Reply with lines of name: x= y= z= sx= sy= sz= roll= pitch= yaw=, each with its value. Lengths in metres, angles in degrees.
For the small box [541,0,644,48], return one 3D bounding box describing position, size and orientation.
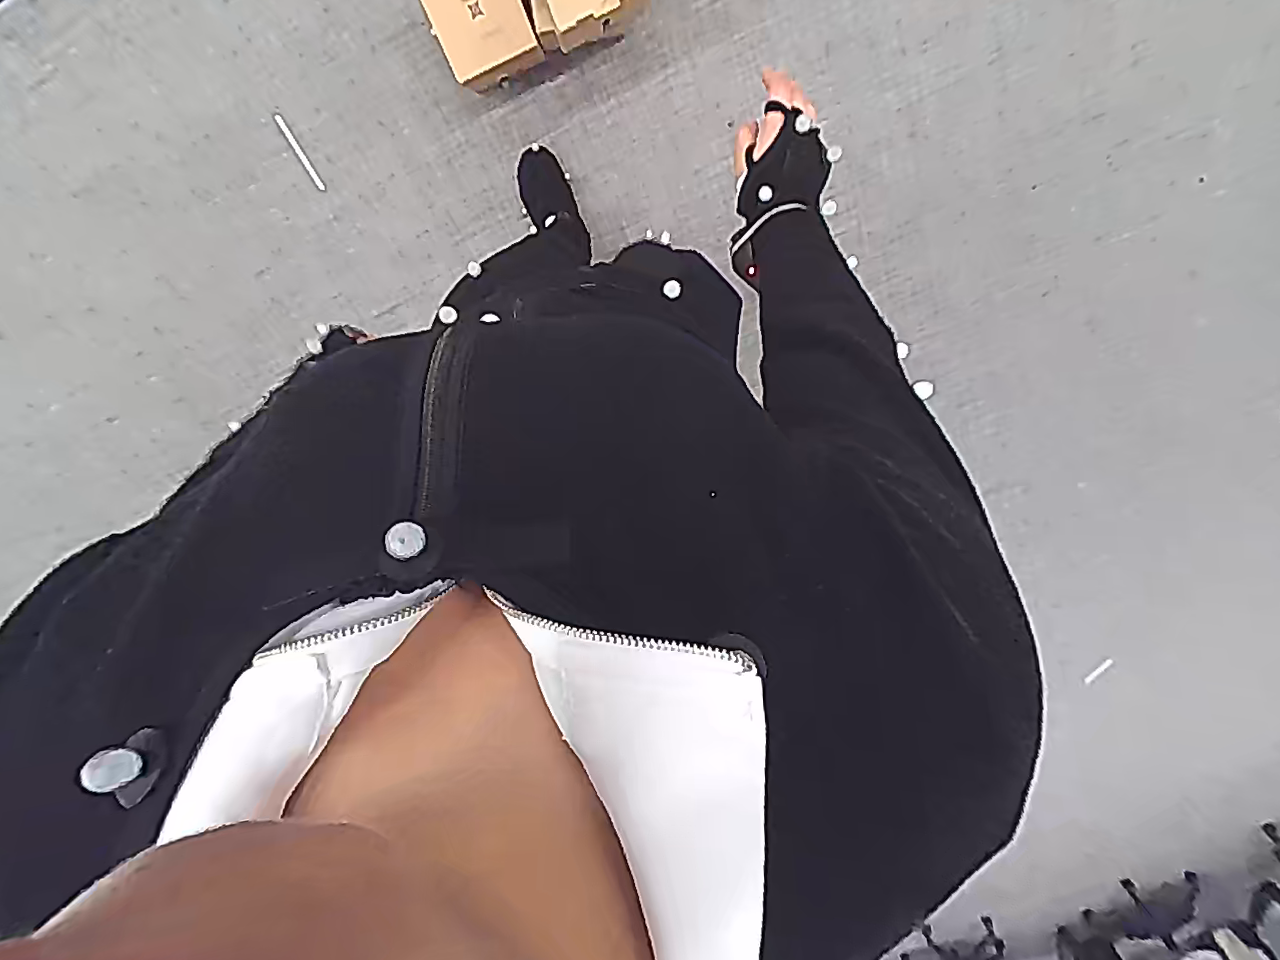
small box: x=-0.093 y=-0.837 z=0.874 sx=0.168 sy=0.176 sz=0.179 roll=-21 pitch=120 yaw=8
